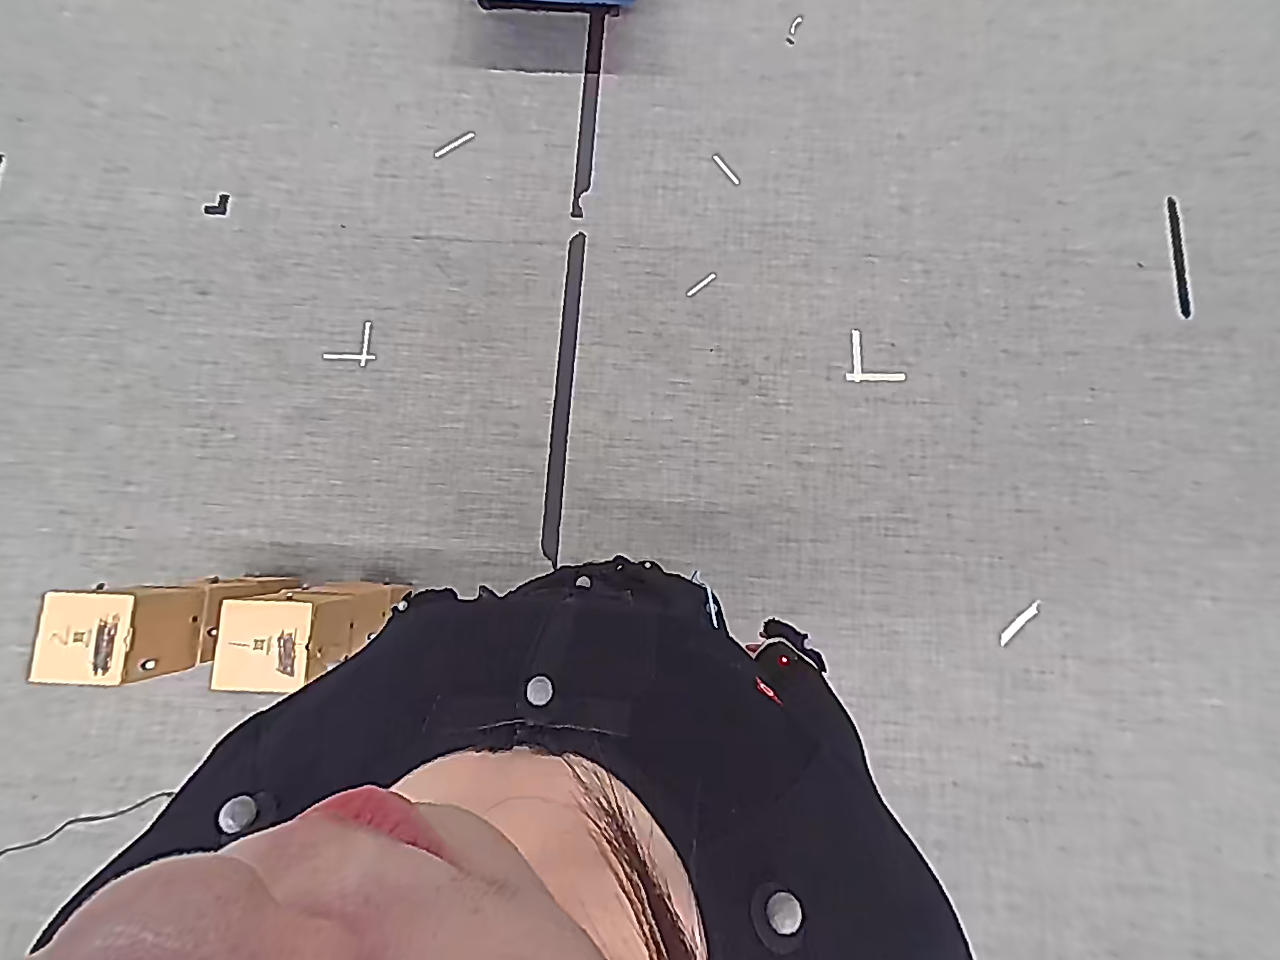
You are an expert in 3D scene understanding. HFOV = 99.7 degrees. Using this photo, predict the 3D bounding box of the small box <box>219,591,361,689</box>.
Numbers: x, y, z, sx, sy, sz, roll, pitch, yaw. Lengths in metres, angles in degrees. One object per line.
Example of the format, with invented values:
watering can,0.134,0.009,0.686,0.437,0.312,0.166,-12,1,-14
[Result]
small box,-0.697,0.316,1.097,0.179,0.176,0.168,2,82,1

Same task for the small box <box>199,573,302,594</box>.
small box,-1.026,0.339,1.424,0.168,0.176,0.179,1,82,0

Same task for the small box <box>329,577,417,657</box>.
small box,-0.706,0.353,1.421,0.168,0.176,0.179,5,81,0

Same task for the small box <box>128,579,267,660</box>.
small box,-1.021,0.319,1.260,0.179,0.176,0.168,1,83,1

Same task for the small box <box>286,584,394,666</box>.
small box,-0.698,0.331,1.261,0.179,0.176,0.168,1,83,0
